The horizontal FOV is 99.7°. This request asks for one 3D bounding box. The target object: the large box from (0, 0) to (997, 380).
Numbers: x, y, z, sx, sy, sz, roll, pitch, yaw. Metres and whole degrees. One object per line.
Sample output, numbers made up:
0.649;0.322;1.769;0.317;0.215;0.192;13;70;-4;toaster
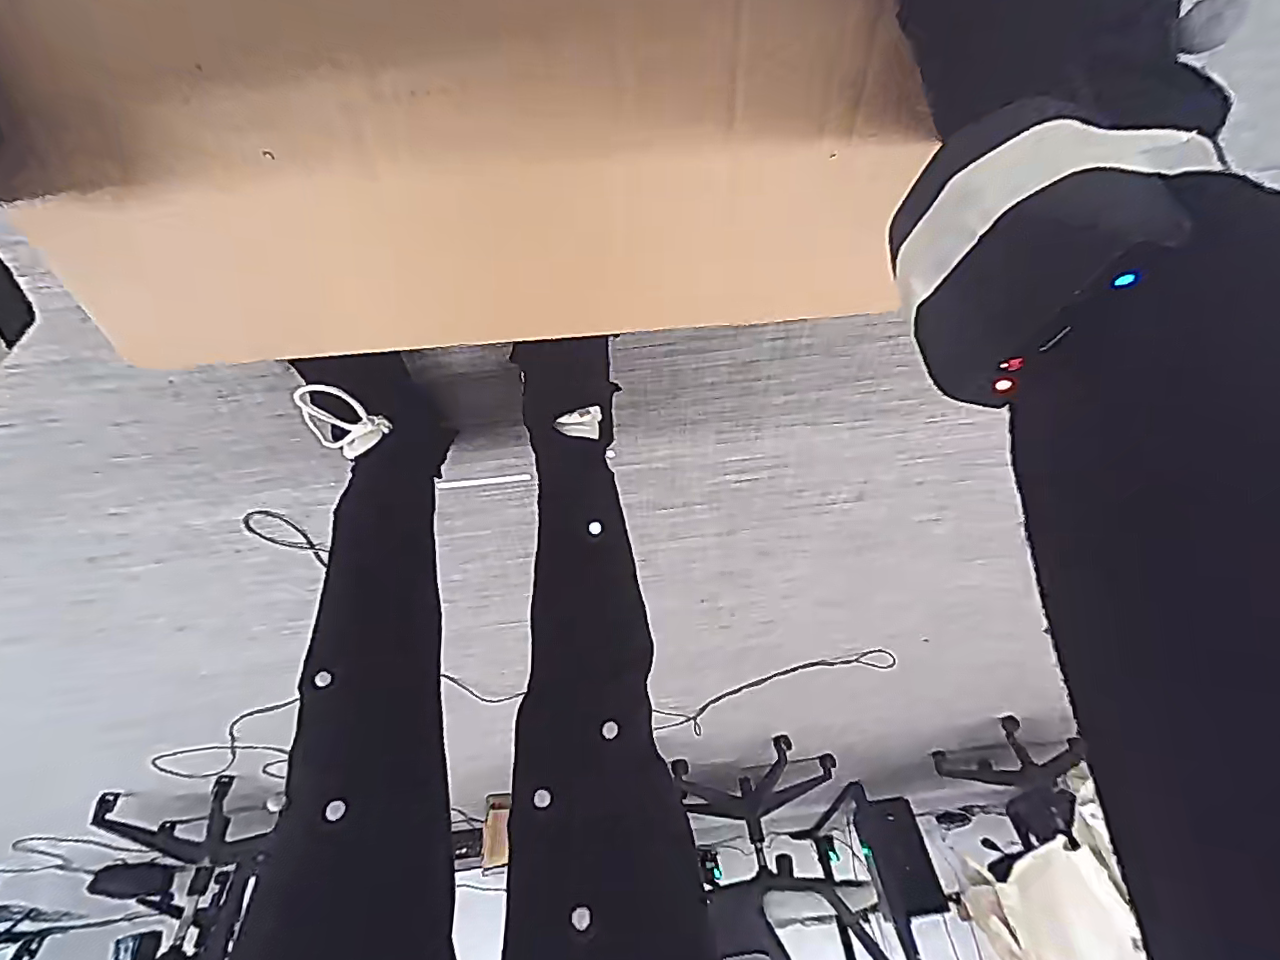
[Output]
-0.077;-0.285;0.289;0.408;0.320;0.320;-5;137;-2;large box
